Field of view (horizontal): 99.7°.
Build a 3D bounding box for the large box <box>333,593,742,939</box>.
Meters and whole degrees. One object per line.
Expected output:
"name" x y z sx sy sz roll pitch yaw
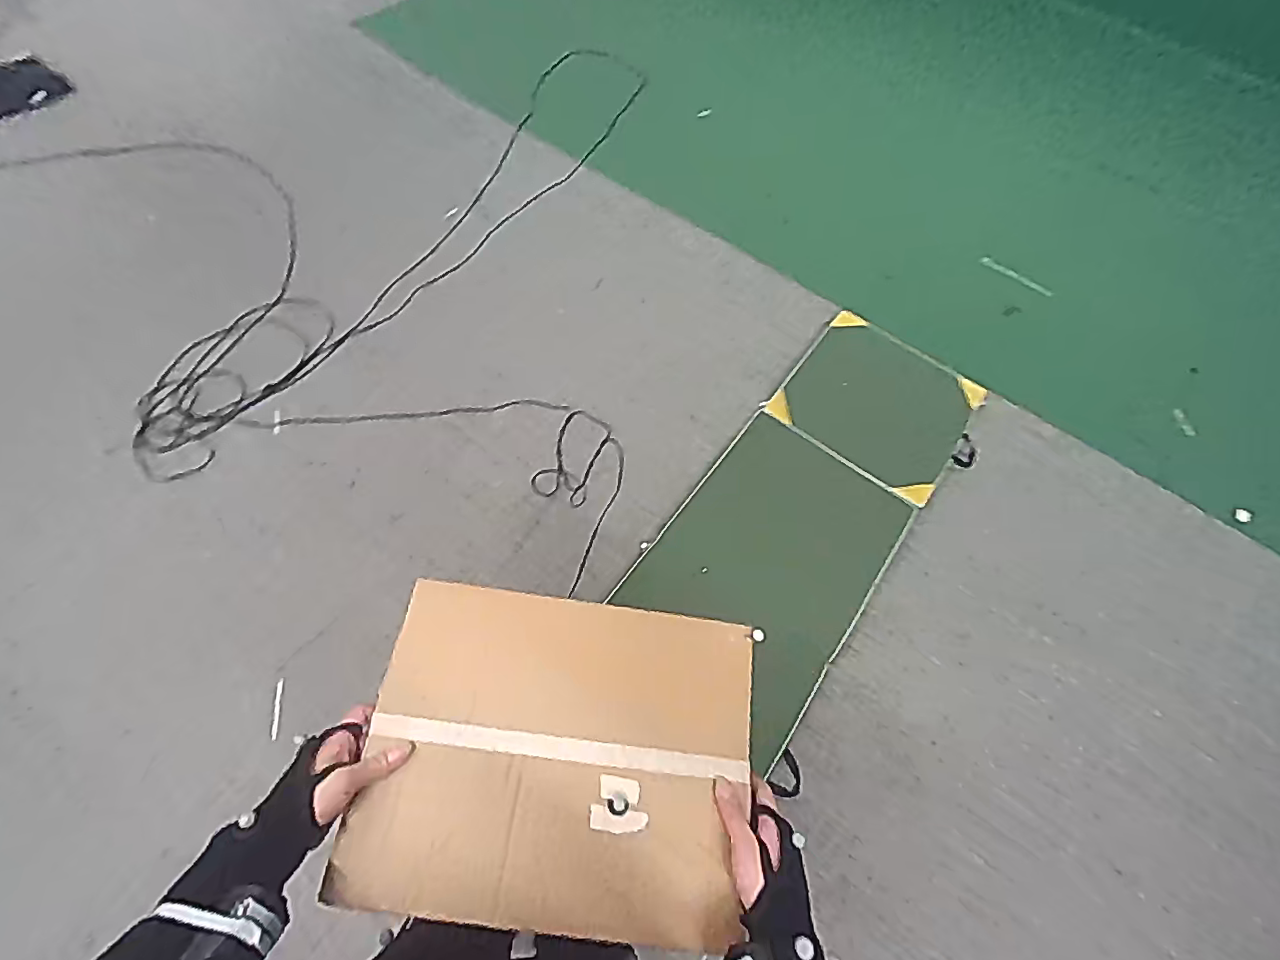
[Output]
"large box" -0.101 0.359 0.721 0.408 0.320 0.320 8 64 -3
